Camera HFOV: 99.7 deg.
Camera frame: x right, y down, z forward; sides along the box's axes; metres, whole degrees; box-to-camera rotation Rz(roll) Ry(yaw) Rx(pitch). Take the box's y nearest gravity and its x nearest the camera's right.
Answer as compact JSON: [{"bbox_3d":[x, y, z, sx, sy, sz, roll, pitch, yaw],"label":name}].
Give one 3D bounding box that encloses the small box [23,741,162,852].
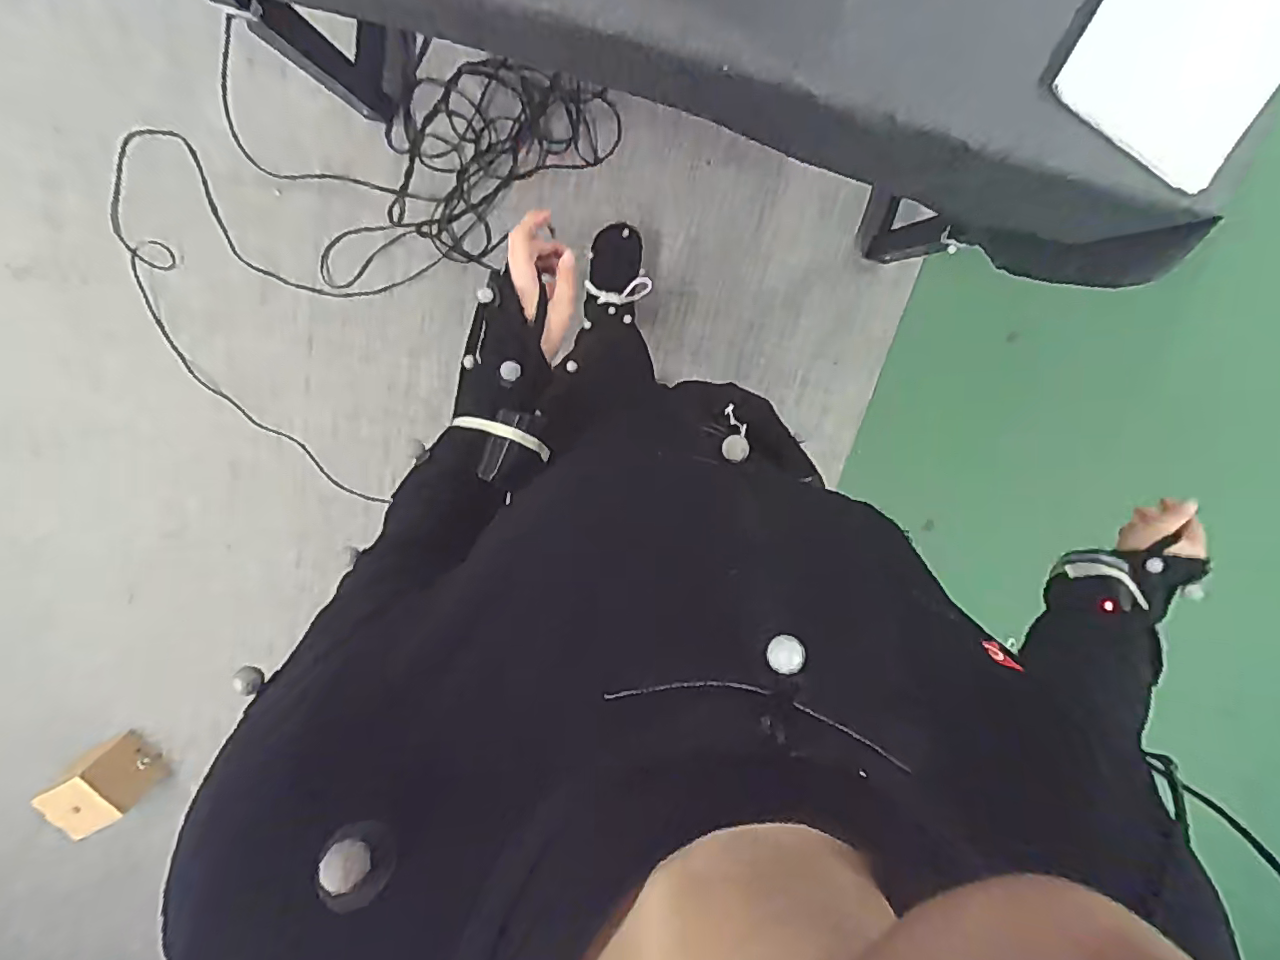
[{"bbox_3d":[-1.502,0.870,1.498,0.179,0.176,0.168,-29,107,6],"label":"small box"}]
